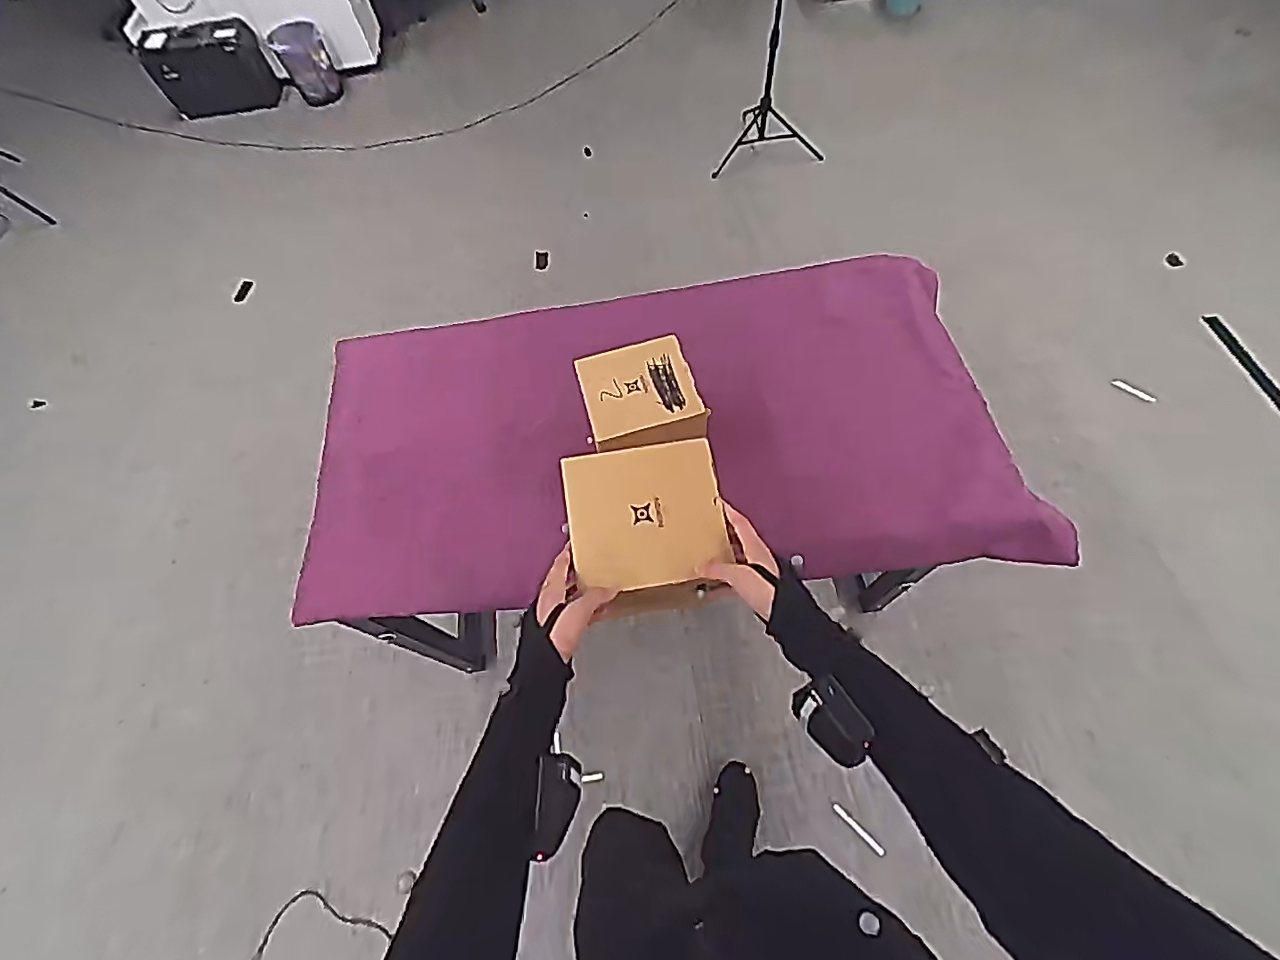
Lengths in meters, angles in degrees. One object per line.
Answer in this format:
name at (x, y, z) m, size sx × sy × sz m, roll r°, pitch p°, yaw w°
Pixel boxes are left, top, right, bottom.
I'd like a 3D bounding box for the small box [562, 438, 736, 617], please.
small box at (0.007, 0.068, 0.674) m, size 0.179 × 0.176 × 0.168 m, roll -8°, pitch 68°, yaw -4°
